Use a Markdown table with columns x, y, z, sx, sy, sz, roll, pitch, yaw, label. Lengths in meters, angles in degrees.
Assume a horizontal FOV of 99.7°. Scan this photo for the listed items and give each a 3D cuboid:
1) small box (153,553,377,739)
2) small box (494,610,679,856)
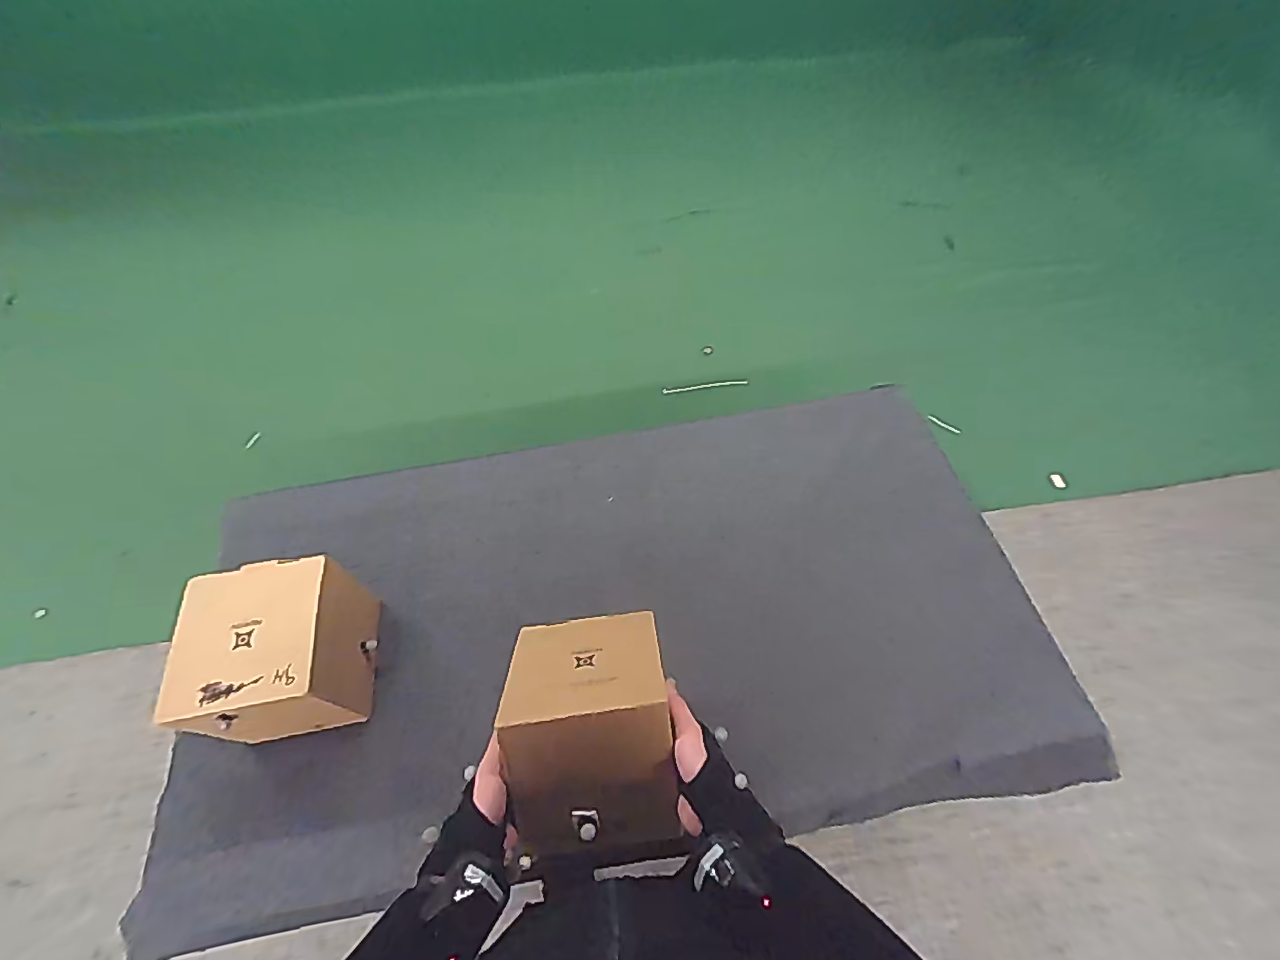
| x | y | z | sx | sy | sz | roll | pitch | yaw | label |
| --- | --- | --- | --- | --- | --- | --- | --- | --- | --- |
| -0.461 | 0.219 | 0.704 | 0.168 | 0.176 | 0.179 | -10 | 58 | -4 | small box |
| -0.053 | 0.271 | 0.606 | 0.168 | 0.176 | 0.179 | -7 | 17 | -2 | small box |
